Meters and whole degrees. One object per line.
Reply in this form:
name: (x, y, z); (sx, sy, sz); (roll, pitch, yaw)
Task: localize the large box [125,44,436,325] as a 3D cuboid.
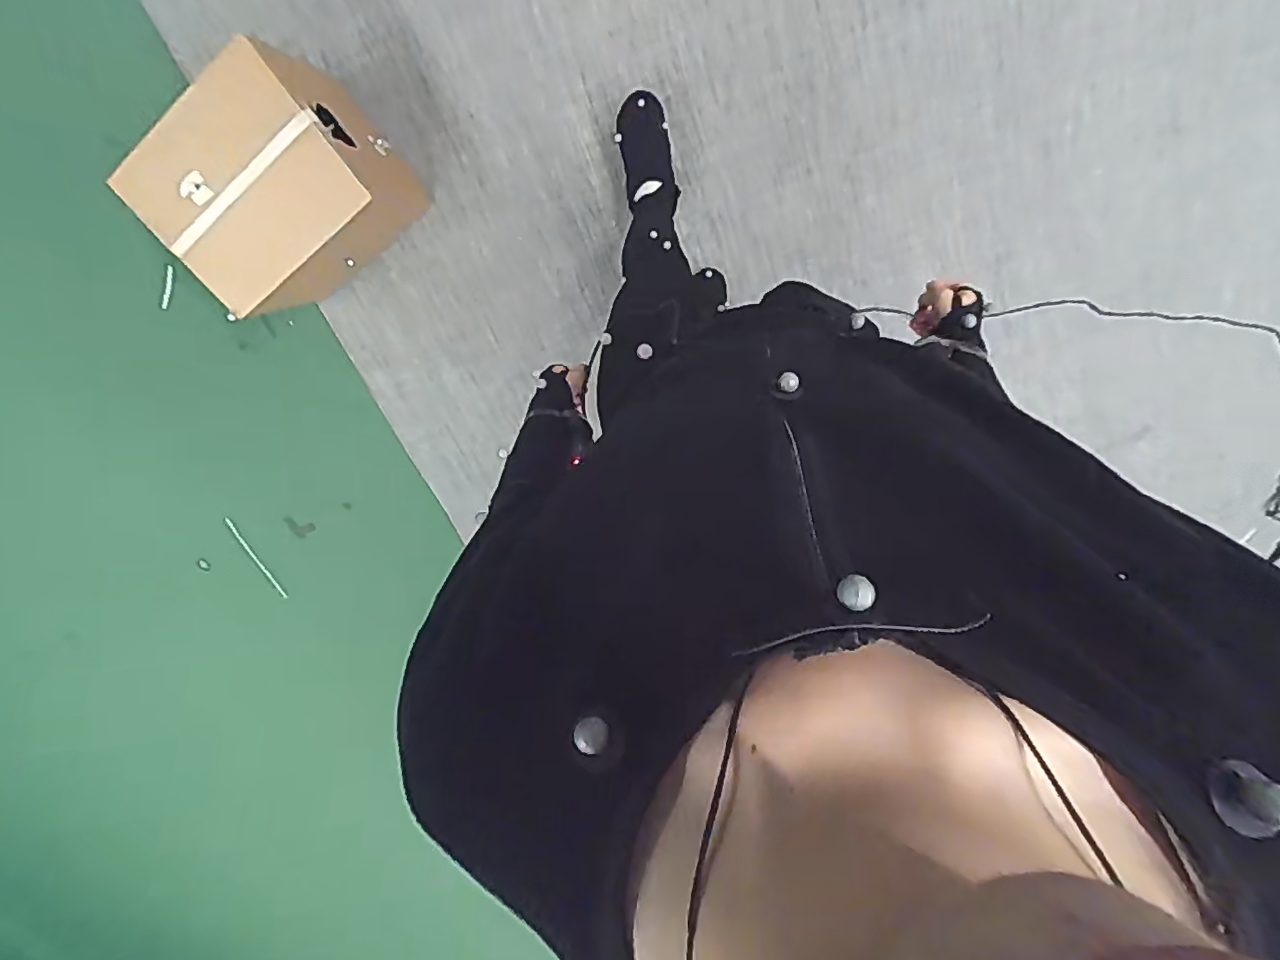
large box: (-0.733, -0.600, 1.162); (0.408, 0.320, 0.320); (-31, 109, 16)
